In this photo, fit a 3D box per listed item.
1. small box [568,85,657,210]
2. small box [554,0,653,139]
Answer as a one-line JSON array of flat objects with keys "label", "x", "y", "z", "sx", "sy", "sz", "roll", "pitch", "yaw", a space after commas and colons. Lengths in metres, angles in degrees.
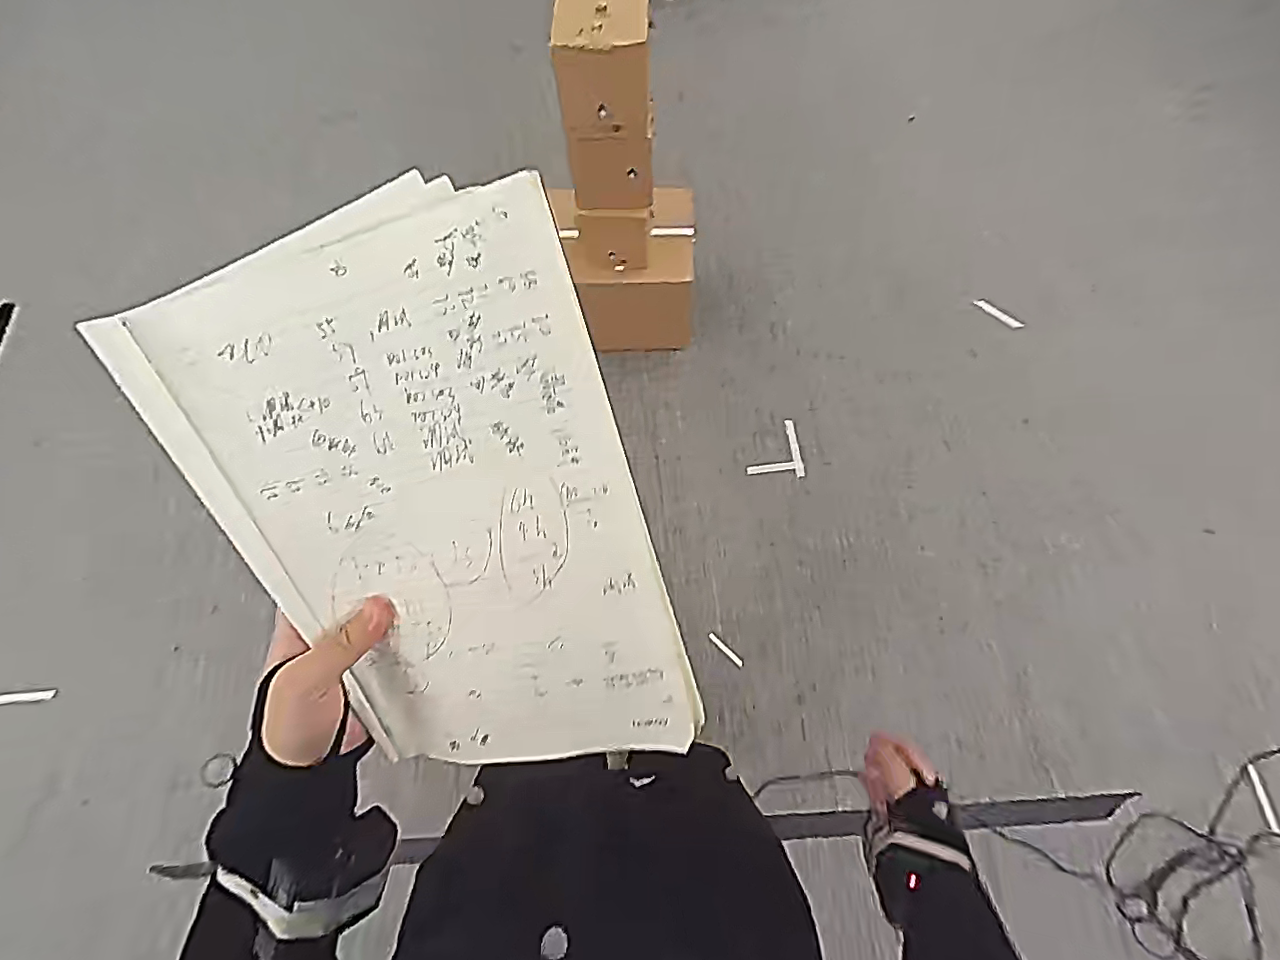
[{"label": "small box", "x": -0.053, "y": -0.710, "z": 1.163, "sx": 0.179, "sy": 0.176, "sz": 0.168, "roll": -2, "pitch": 69, "yaw": 2}, {"label": "small box", "x": -0.061, "y": -0.779, "z": 1.013, "sx": 0.168, "sy": 0.176, "sz": 0.179, "roll": 0, "pitch": 69, "yaw": 2}]
